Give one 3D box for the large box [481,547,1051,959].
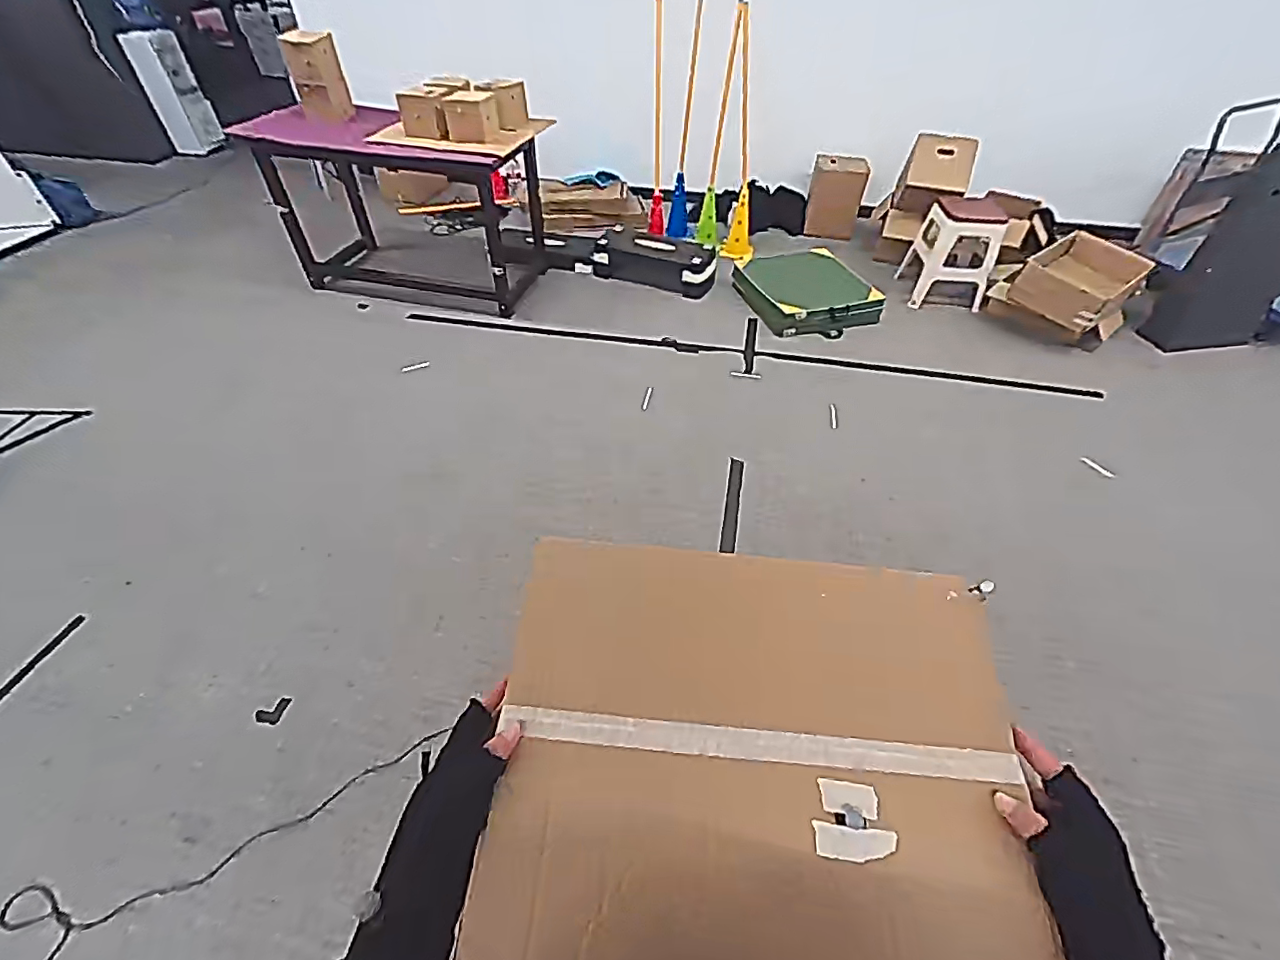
[{"bbox_3d":[0.092,0.284,0.568,0.408,0.320,0.320,5,61,1],"label":"large box"}]
